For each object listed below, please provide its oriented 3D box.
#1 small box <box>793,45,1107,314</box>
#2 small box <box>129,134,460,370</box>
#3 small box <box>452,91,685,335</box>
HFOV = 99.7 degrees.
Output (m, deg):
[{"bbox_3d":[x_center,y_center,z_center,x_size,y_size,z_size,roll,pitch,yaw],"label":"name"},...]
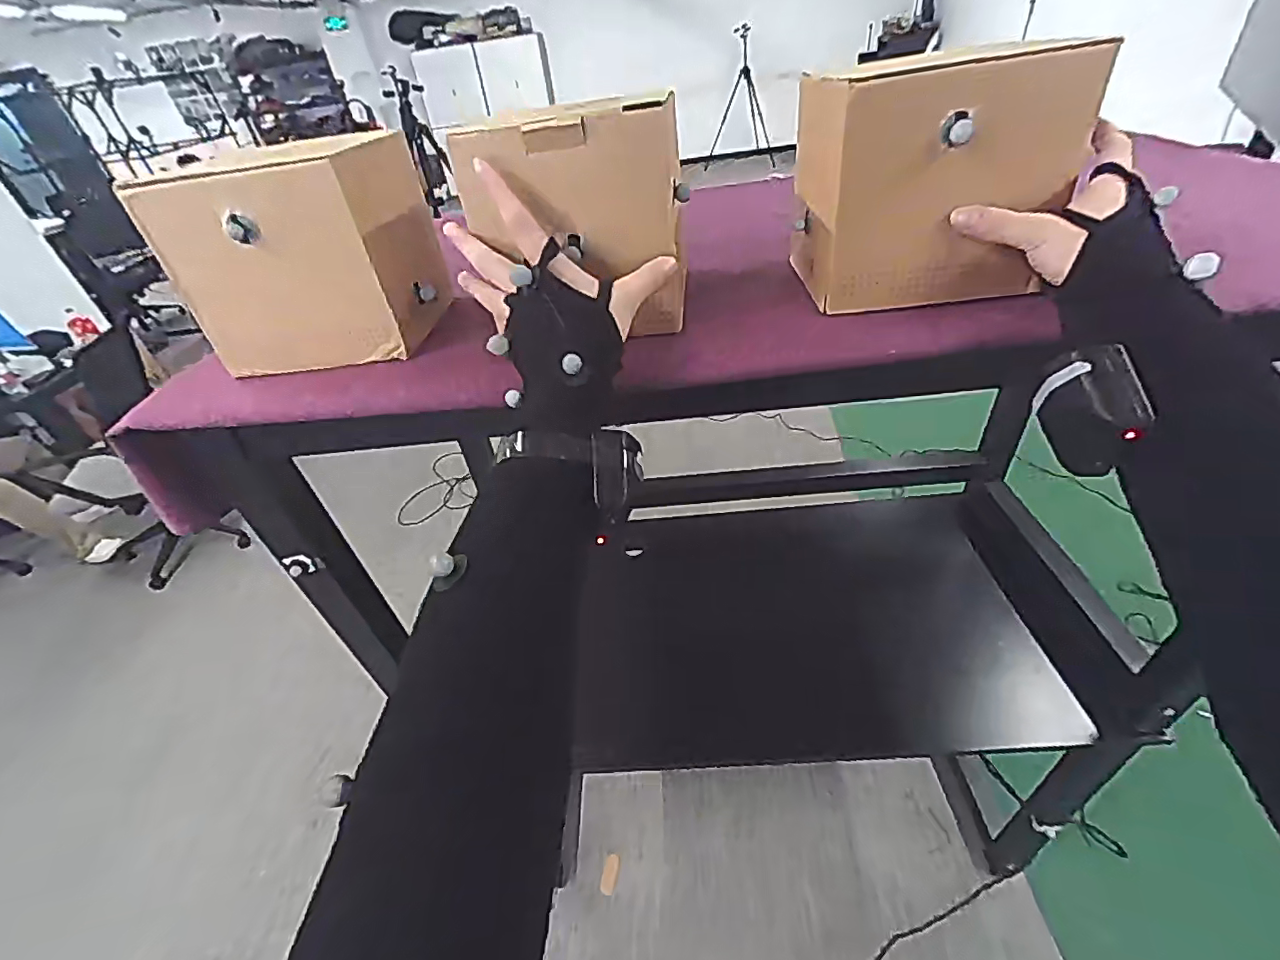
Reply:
[{"bbox_3d":[0.239,-0.262,0.477,0.179,0.176,0.168,-5,37,7],"label":"small box"},{"bbox_3d":[-0.300,-0.216,0.520,0.179,0.176,0.168,-5,38,4],"label":"small box"},{"bbox_3d":[-0.045,-0.244,0.506,0.168,0.176,0.179,-1,39,8],"label":"small box"}]
